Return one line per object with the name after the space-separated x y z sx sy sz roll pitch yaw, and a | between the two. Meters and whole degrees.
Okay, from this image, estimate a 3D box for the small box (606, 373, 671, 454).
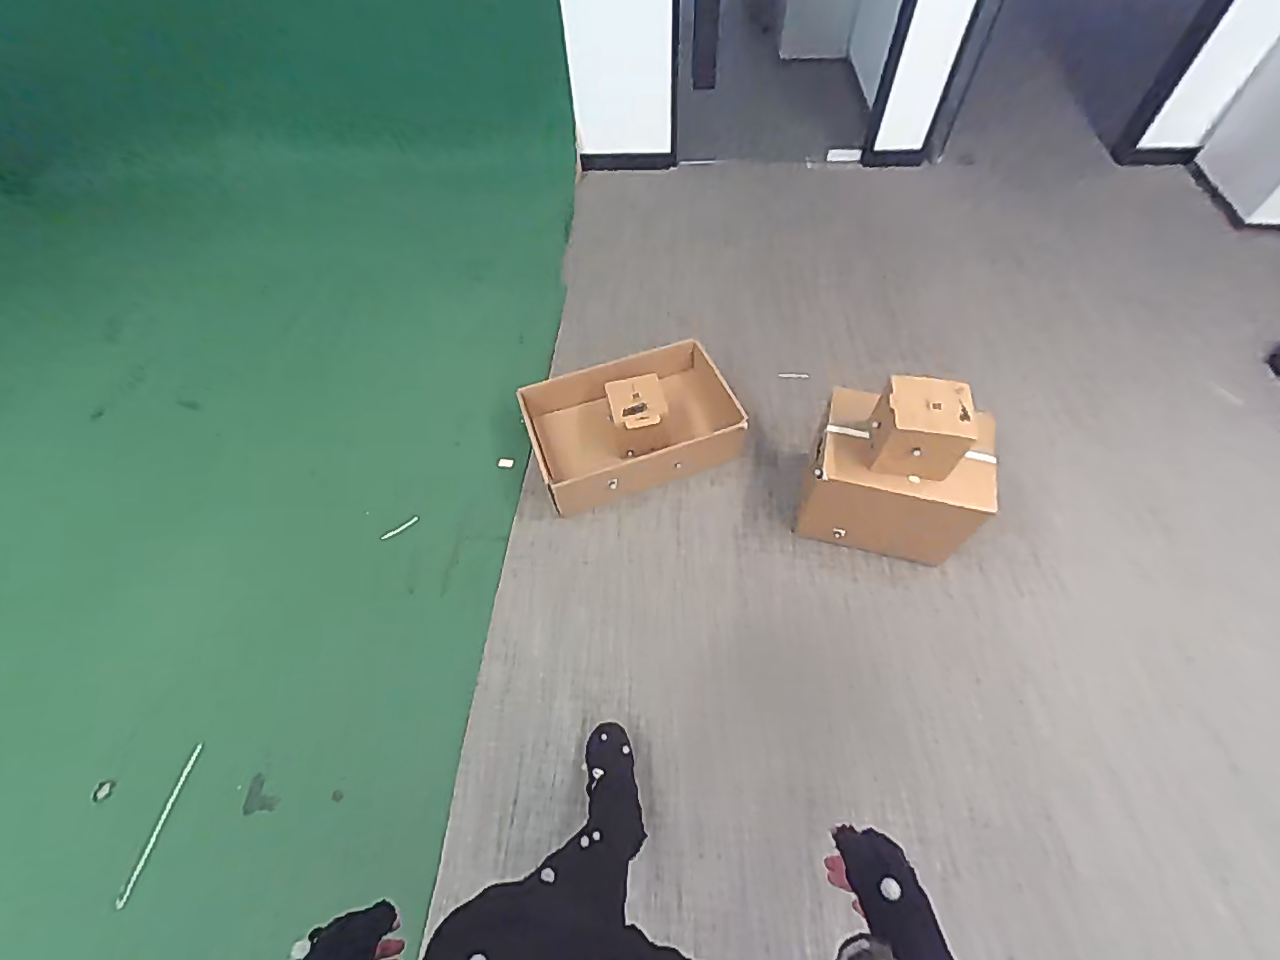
-0.003 -0.198 1.675 0.168 0.176 0.179 -12 55 -4 | small box

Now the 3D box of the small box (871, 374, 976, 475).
0.656 -0.127 1.277 0.179 0.176 0.168 7 58 9 | small box
